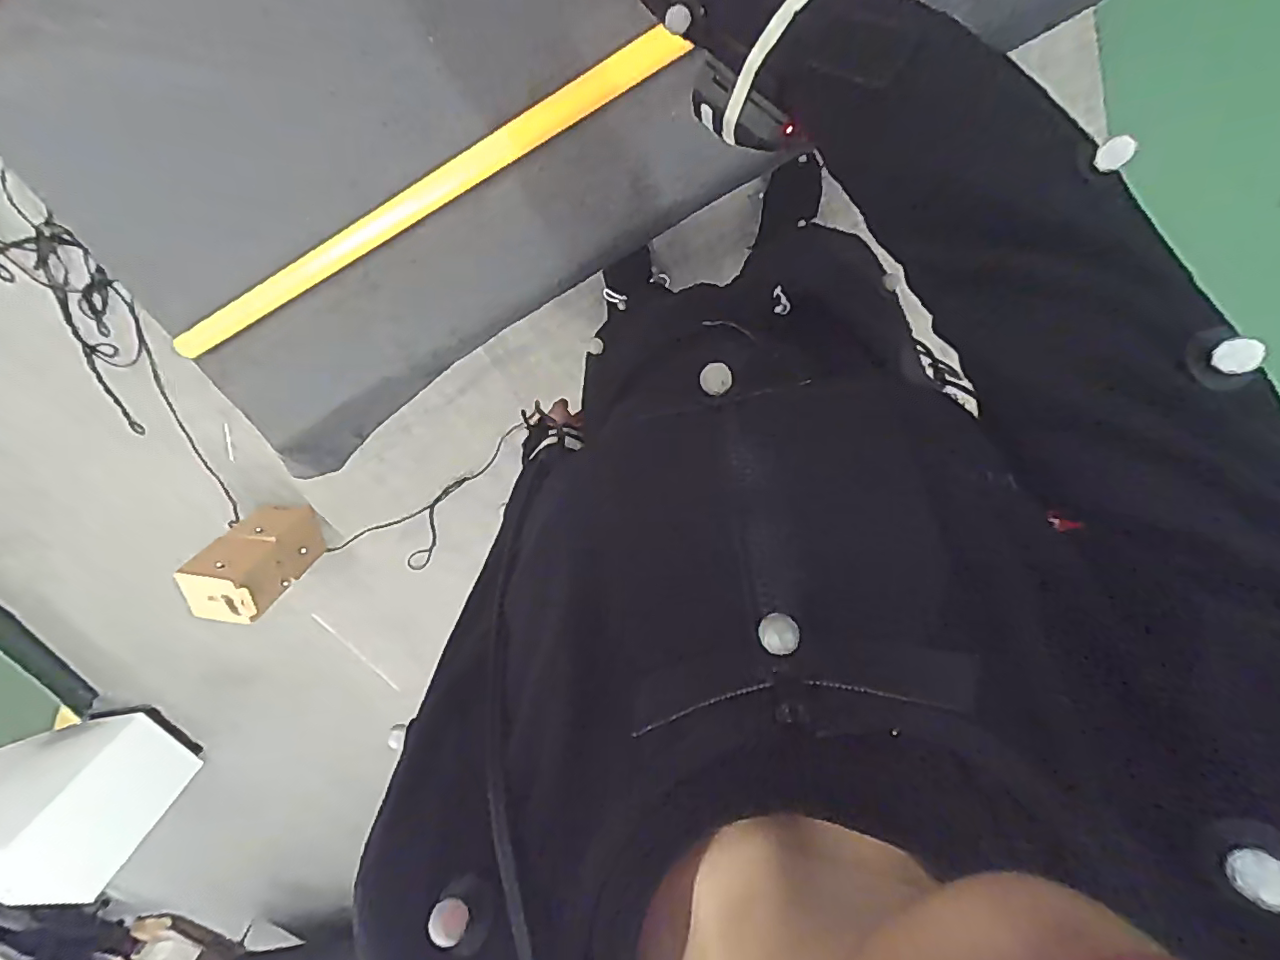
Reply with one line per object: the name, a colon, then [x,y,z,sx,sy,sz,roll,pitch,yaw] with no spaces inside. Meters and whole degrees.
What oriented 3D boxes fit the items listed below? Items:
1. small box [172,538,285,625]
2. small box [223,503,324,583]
small box: [-1.143,0.280,1.525,0.179,0.176,0.168,7,121,4]
small box: [-1.115,0.193,1.663,0.168,0.176,0.179,2,121,6]
